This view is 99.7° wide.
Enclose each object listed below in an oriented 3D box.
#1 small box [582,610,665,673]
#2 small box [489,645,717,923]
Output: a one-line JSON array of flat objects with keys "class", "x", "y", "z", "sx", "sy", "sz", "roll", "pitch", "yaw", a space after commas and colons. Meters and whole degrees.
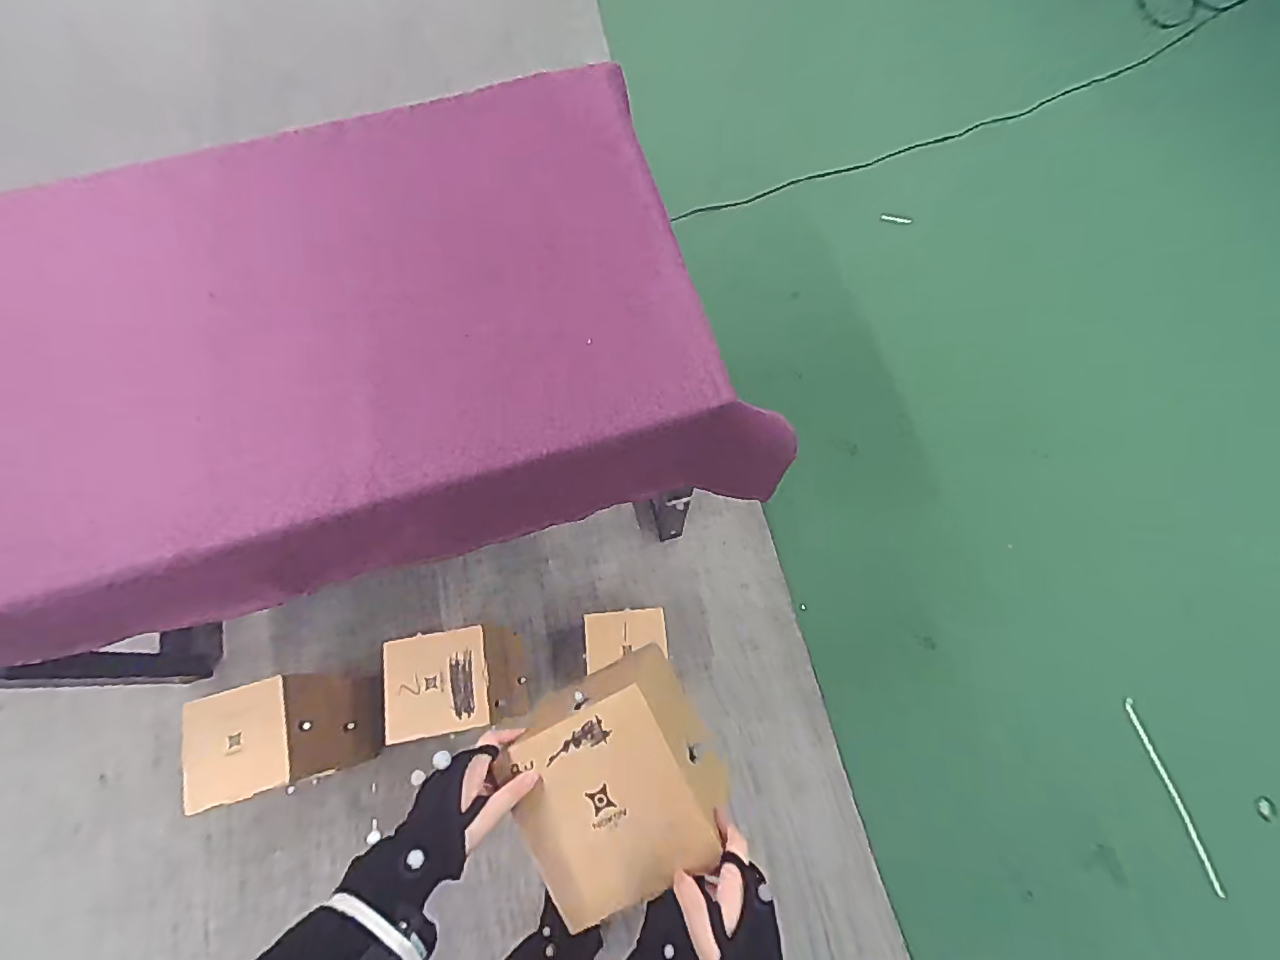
[{"class": "small box", "x": -0.031, "y": 0.381, "z": 1.162, "sx": 0.168, "sy": 0.176, "sz": 0.179, "roll": -4, "pitch": 70, "yaw": -2}, {"class": "small box", "x": -0.027, "y": 0.307, "z": 0.587, "sx": 0.168, "sy": 0.176, "sz": 0.179, "roll": -29, "pitch": 83, "yaw": 4}]
